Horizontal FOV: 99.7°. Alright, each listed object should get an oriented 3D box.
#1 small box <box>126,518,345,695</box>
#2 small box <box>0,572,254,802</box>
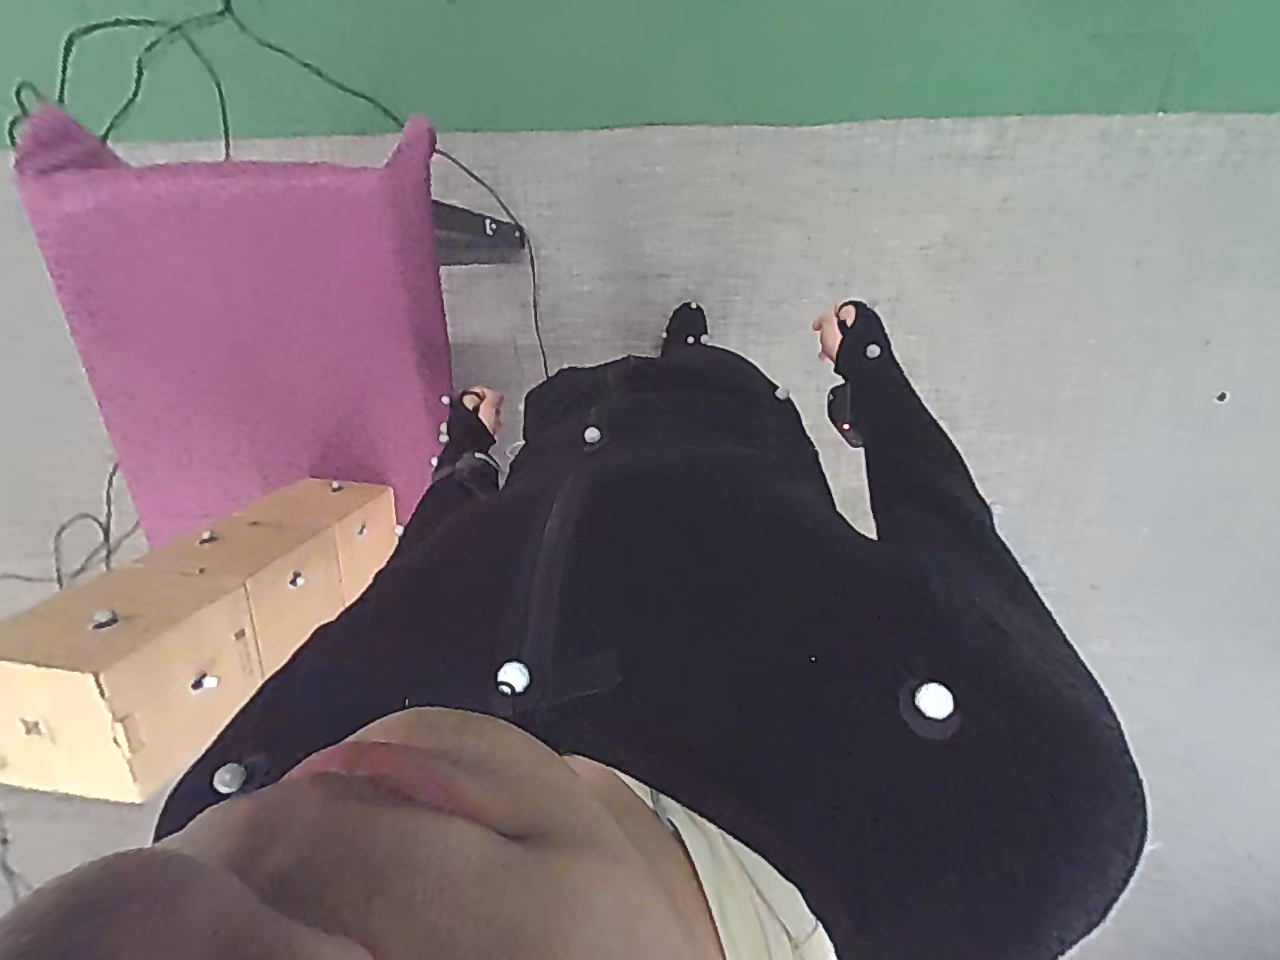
[{"bbox_3d":[-0.547,0.166,0.758,0.168,0.176,0.179,6,109,5],"label":"small box"},{"bbox_3d":[-0.572,0.218,0.605,0.179,0.176,0.168,5,109,5],"label":"small box"}]
